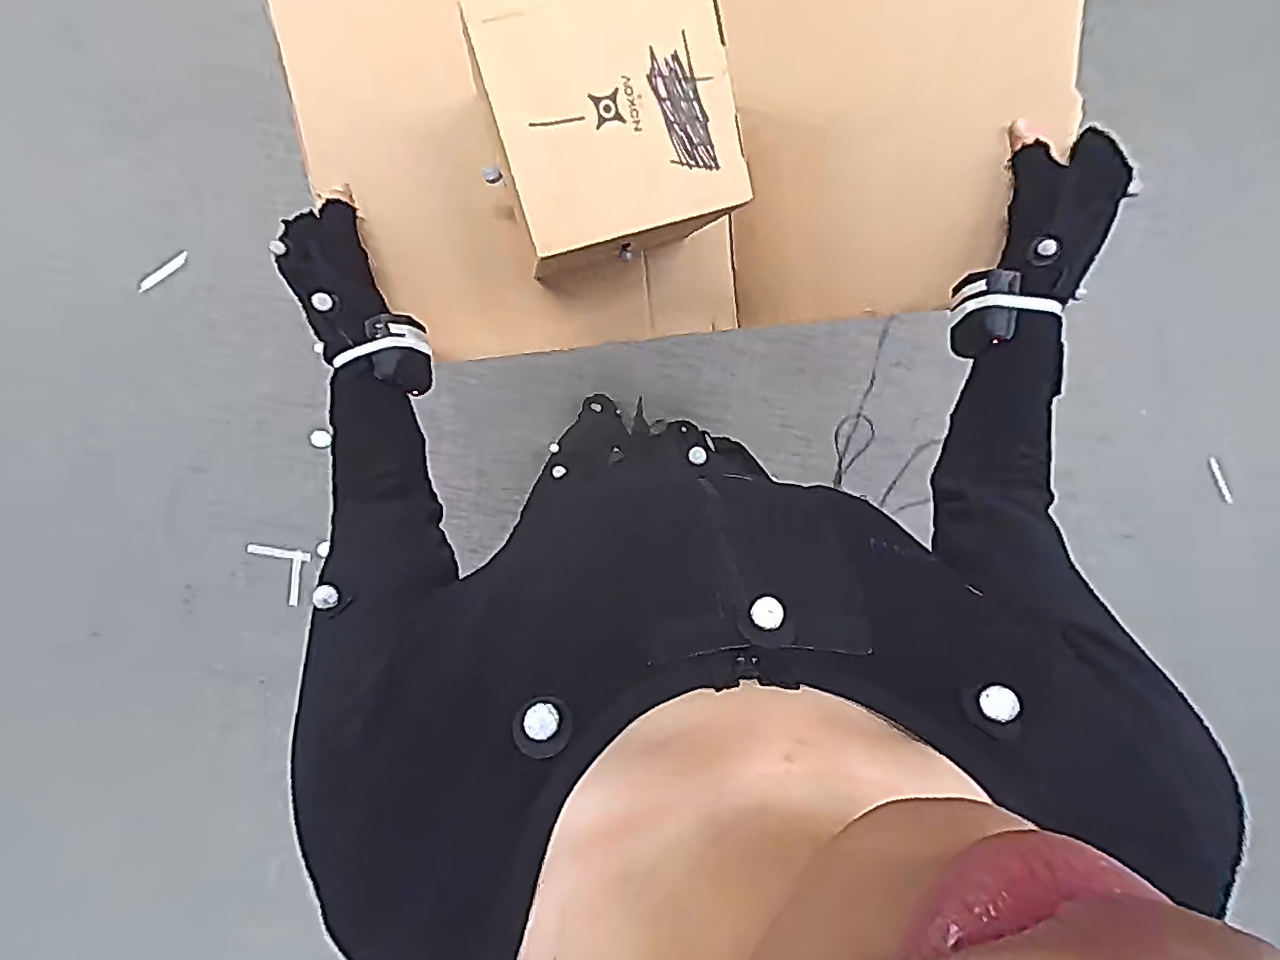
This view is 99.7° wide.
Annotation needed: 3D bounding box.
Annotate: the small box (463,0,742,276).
[{"bbox_3d":[-0.036,-0.288,0.472,0.179,0.176,0.168,-18,108,-6],"label":"small box"}]
